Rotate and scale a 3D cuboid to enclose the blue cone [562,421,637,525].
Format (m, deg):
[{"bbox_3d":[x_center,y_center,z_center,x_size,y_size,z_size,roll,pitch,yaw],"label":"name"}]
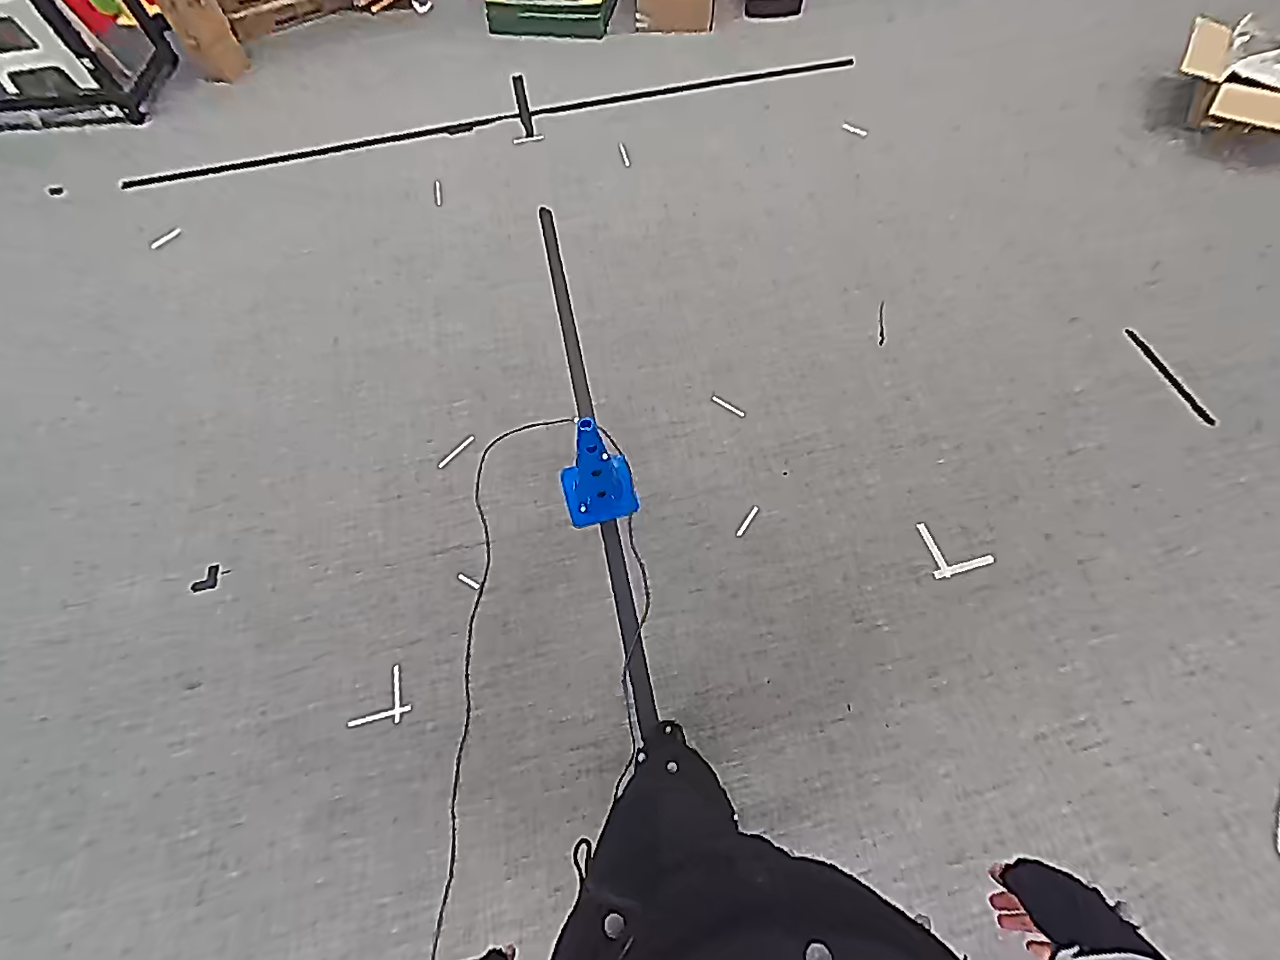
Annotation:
[{"bbox_3d":[-0.118,-0.045,1.419,0.192,0.380,0.193,-17,64,-7],"label":"blue cone"}]
